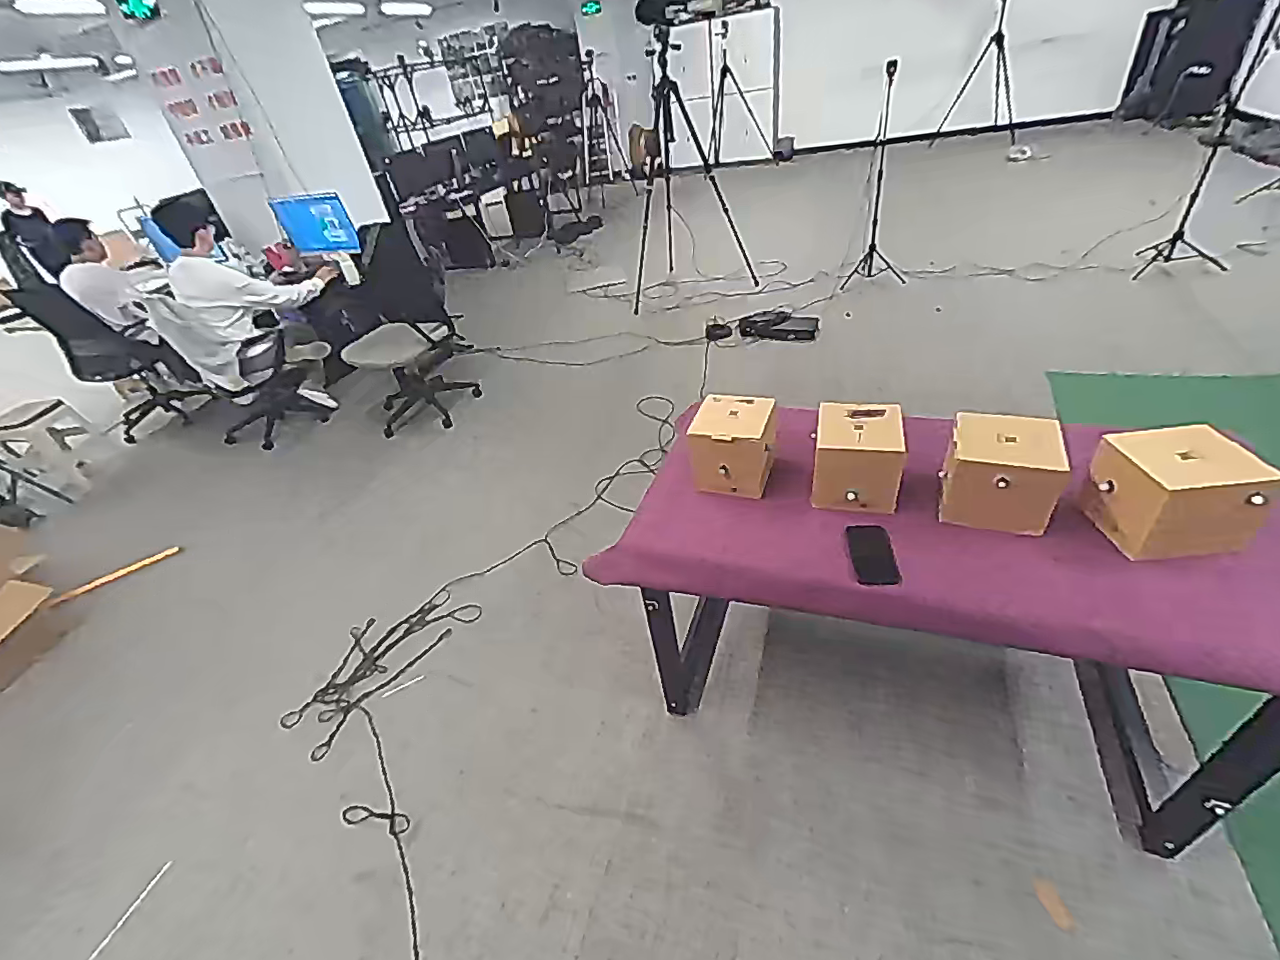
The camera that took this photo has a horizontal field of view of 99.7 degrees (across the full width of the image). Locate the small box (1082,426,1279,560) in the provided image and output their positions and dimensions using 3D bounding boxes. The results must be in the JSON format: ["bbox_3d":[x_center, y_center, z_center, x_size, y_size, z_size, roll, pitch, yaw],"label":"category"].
[{"bbox_3d":[0.934,0.026,0.959,0.179,0.176,0.168,-6,37,6],"label":"small box"}]

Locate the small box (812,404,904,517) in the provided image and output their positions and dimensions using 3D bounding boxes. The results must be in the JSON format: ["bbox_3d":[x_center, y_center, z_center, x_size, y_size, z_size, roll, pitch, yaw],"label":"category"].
[{"bbox_3d":[0.465,-0.045,1.167,0.168,0.176,0.179,4,40,19],"label":"small box"}]

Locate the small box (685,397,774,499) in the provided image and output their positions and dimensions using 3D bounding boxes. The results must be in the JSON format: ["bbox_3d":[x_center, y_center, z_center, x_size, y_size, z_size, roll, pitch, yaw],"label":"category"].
[{"bbox_3d":[0.218,-0.076,1.268,0.168,0.176,0.179,8,42,23],"label":"small box"}]

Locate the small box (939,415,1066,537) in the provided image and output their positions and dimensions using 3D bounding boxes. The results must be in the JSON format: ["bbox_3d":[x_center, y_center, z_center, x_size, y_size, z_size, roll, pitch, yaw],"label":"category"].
[{"bbox_3d":[0.700,-0.009,1.063,0.179,0.176,0.168,10,42,25],"label":"small box"}]
